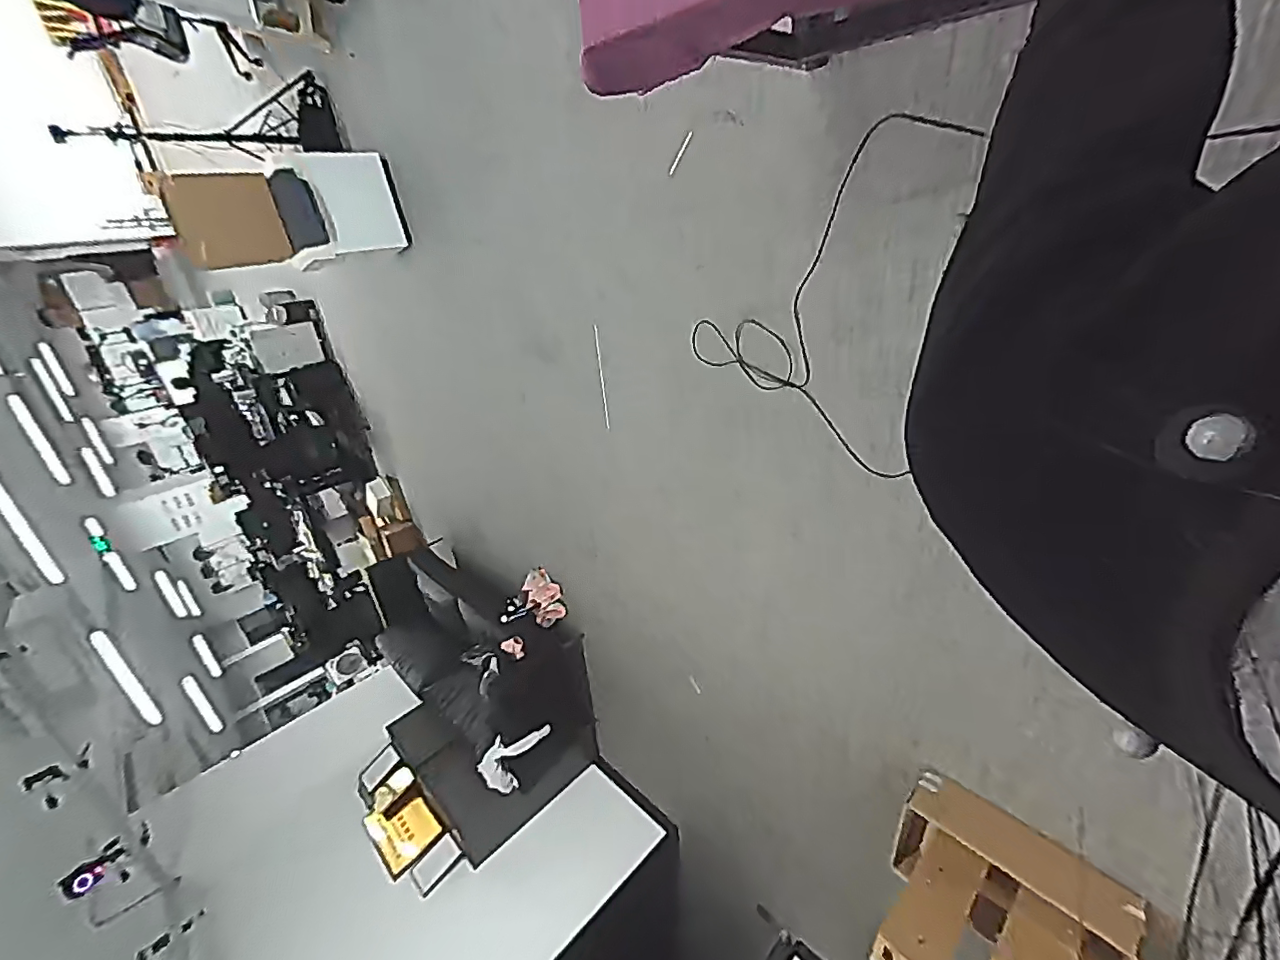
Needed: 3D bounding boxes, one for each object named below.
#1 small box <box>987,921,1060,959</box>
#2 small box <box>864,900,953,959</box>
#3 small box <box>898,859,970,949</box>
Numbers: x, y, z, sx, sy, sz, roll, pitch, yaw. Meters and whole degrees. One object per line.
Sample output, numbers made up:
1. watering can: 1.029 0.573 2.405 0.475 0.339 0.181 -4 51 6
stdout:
1. small box: 1.105 1.441 1.556 0.179 0.176 0.168 21 125 44
2. small box: 0.807 1.421 1.626 0.179 0.176 0.168 23 126 40
3. small box: 0.928 1.371 1.725 0.168 0.176 0.179 23 127 40
